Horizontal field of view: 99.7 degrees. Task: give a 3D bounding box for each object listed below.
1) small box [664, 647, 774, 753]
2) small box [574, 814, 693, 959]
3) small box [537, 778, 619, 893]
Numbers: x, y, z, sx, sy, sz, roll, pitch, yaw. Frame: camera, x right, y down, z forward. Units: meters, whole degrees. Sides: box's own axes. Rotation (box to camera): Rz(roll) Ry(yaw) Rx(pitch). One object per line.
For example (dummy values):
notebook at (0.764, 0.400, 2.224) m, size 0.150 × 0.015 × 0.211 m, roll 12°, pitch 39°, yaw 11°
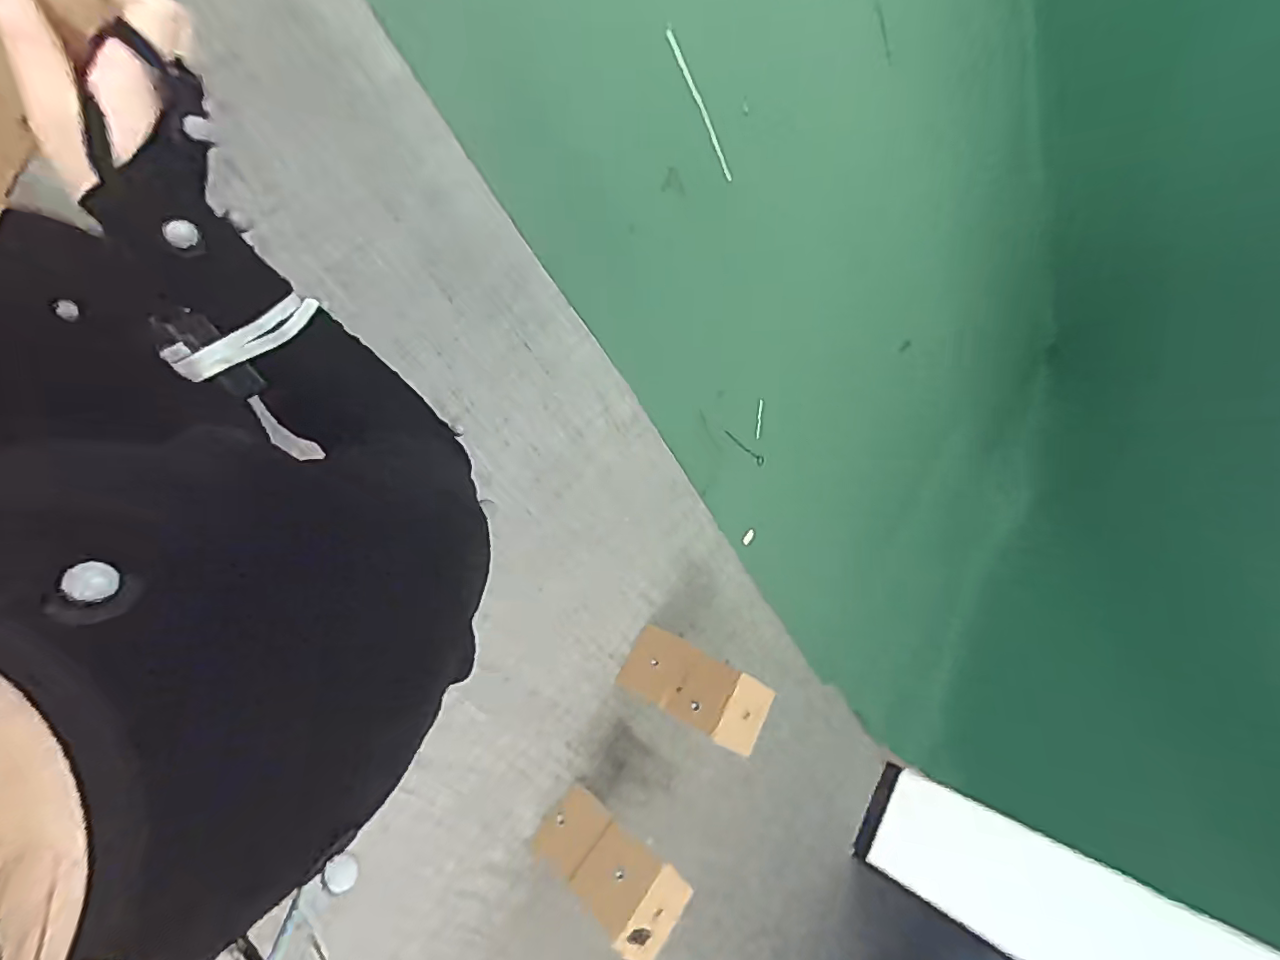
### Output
small box at (0.190, 0.528, 1.316) m, size 0.179 × 0.176 × 0.168 m, roll 42°, pitch 70°, yaw -38°
small box at (-0.021, 0.891, 1.187) m, size 0.179 × 0.176 × 0.168 m, roll -46°, pitch 124°, yaw -28°
small box at (-0.126, 0.876, 1.315) m, size 0.179 × 0.176 × 0.168 m, roll -46°, pitch 125°, yaw -26°
